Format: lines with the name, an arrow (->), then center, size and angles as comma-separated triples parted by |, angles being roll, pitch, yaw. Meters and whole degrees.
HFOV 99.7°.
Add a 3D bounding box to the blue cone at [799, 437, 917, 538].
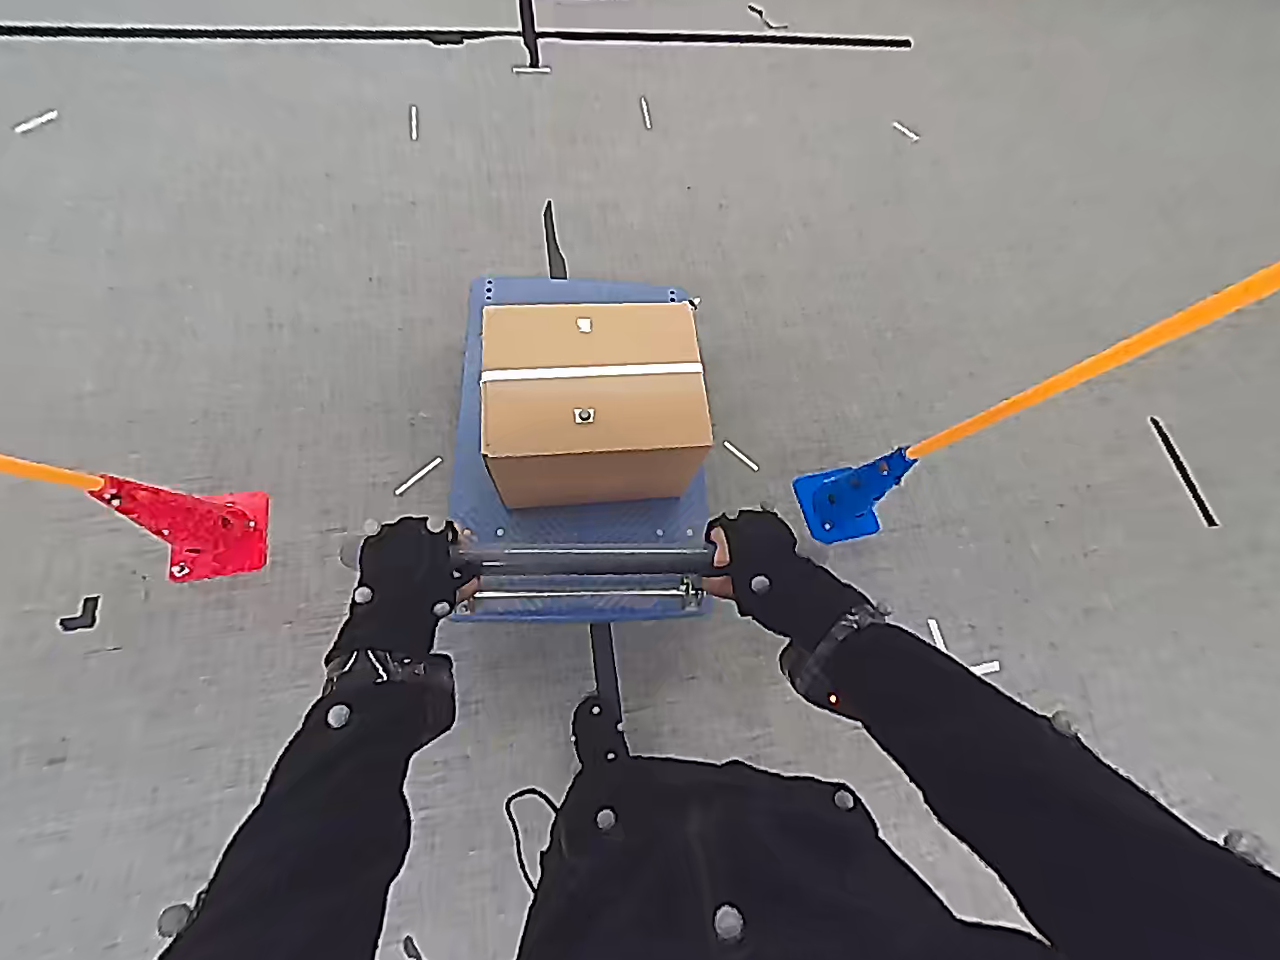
blue cone -> 0.564, -0.001, 1.332 | 0.193, 0.380, 0.192 | -10, 70, -11
